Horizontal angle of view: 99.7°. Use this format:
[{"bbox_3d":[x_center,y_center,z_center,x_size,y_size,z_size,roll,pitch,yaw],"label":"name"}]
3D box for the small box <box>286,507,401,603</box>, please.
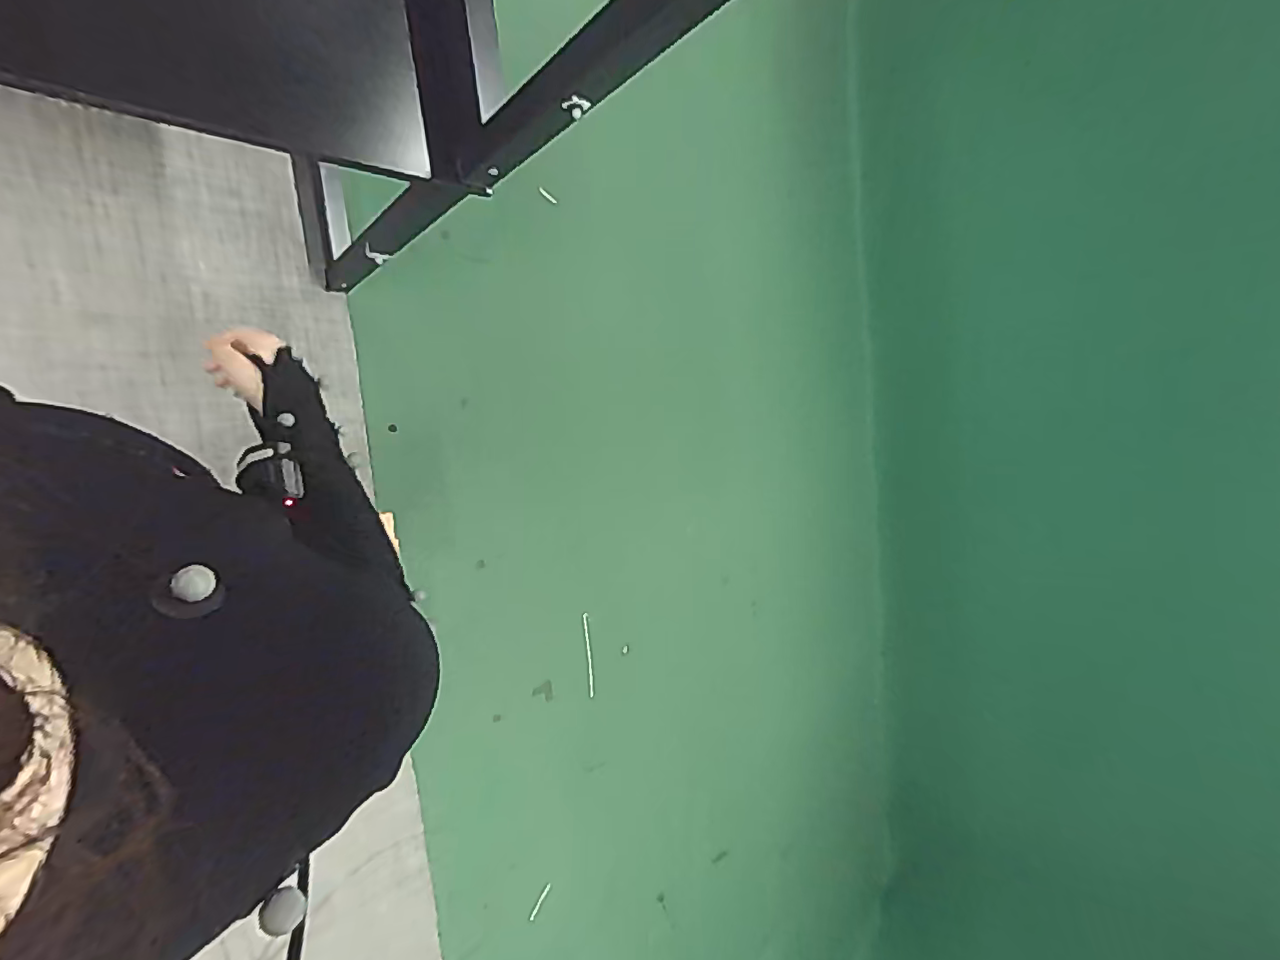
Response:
[{"bbox_3d":[-0.648,0.154,1.175,0.179,0.176,0.168,-12,98,-45],"label":"small box"}]
